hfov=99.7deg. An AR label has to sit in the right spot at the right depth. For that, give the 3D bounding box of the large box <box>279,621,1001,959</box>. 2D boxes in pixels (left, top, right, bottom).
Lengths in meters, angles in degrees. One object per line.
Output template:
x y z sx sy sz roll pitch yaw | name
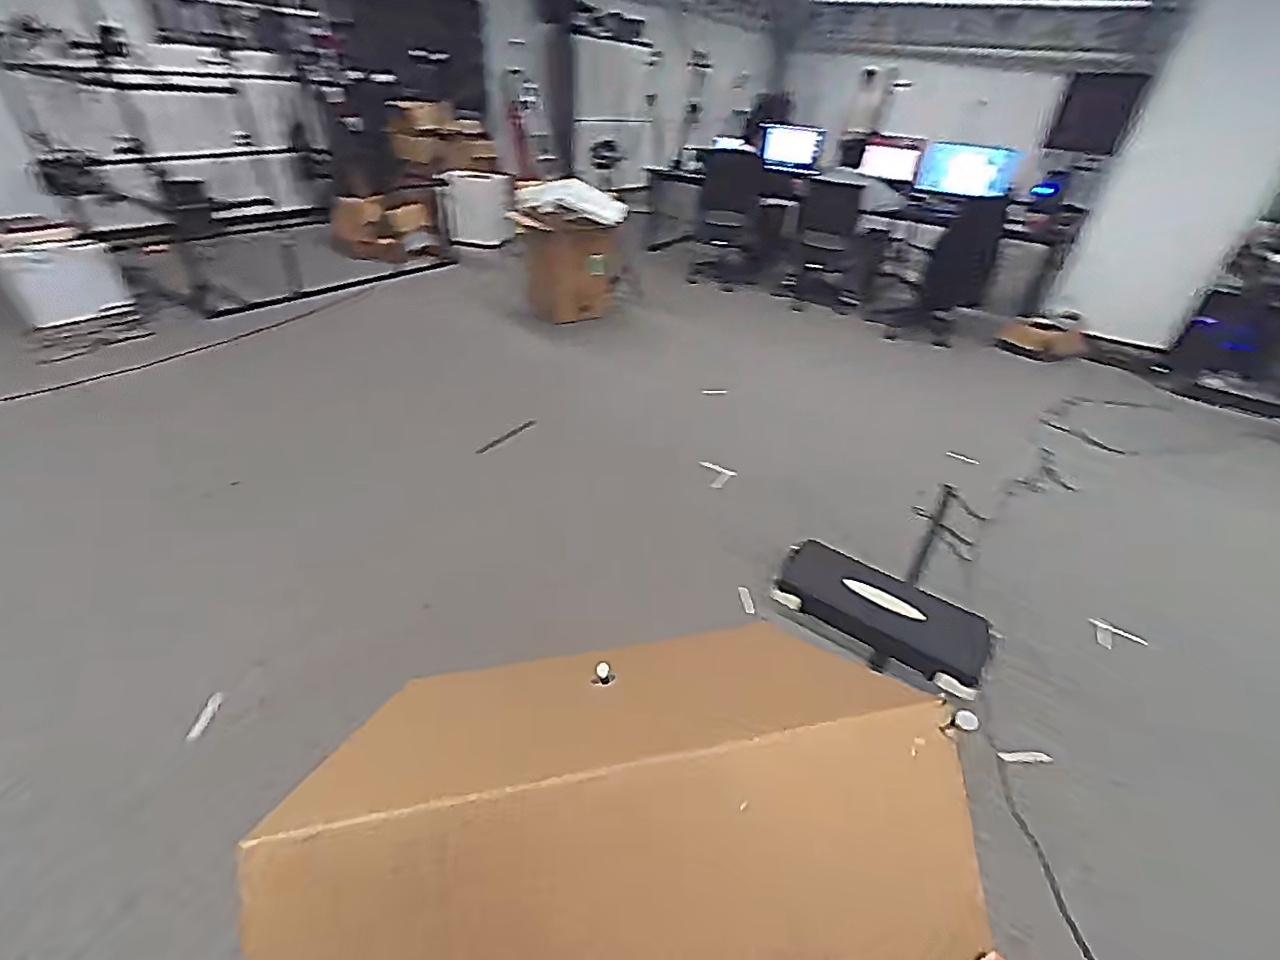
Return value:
0.003 0.323 0.448 0.408 0.320 0.320 -7 -3 -8 | large box
